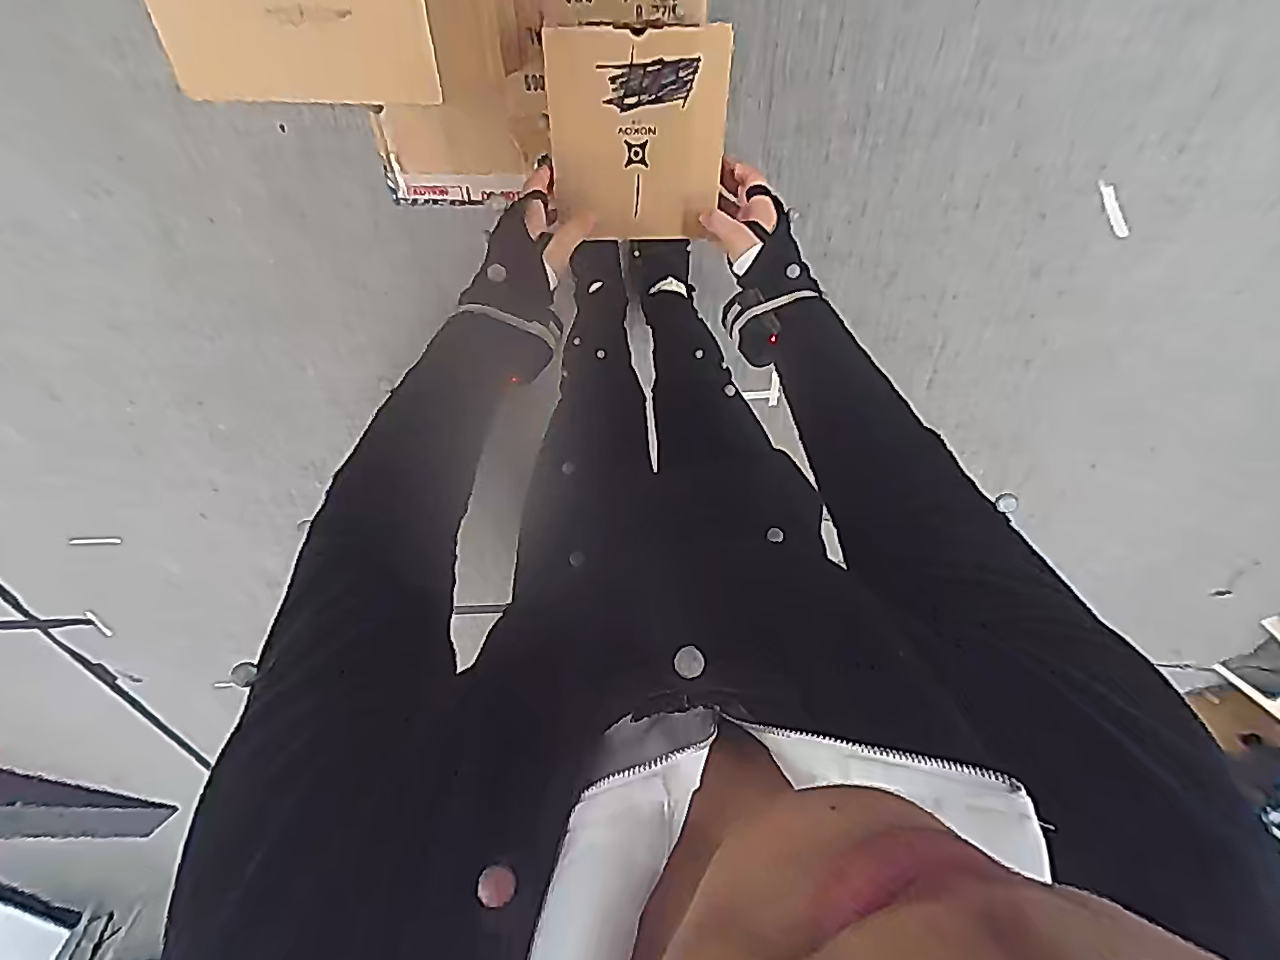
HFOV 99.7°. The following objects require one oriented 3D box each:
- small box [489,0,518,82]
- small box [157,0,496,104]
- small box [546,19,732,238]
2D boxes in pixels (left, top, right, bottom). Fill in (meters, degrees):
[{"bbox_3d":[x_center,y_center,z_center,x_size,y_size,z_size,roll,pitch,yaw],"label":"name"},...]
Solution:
[{"bbox_3d":[-0.210,-0.470,0.483,0.168,0.176,0.179,0,130,-1],"label":"small box"},{"bbox_3d":[-0.203,-0.365,0.358,0.168,0.176,0.179,1,131,-1],"label":"small box"},{"bbox_3d":[-0.008,-0.374,0.576,0.168,0.176,0.179,-2,131,-3],"label":"small box"}]
